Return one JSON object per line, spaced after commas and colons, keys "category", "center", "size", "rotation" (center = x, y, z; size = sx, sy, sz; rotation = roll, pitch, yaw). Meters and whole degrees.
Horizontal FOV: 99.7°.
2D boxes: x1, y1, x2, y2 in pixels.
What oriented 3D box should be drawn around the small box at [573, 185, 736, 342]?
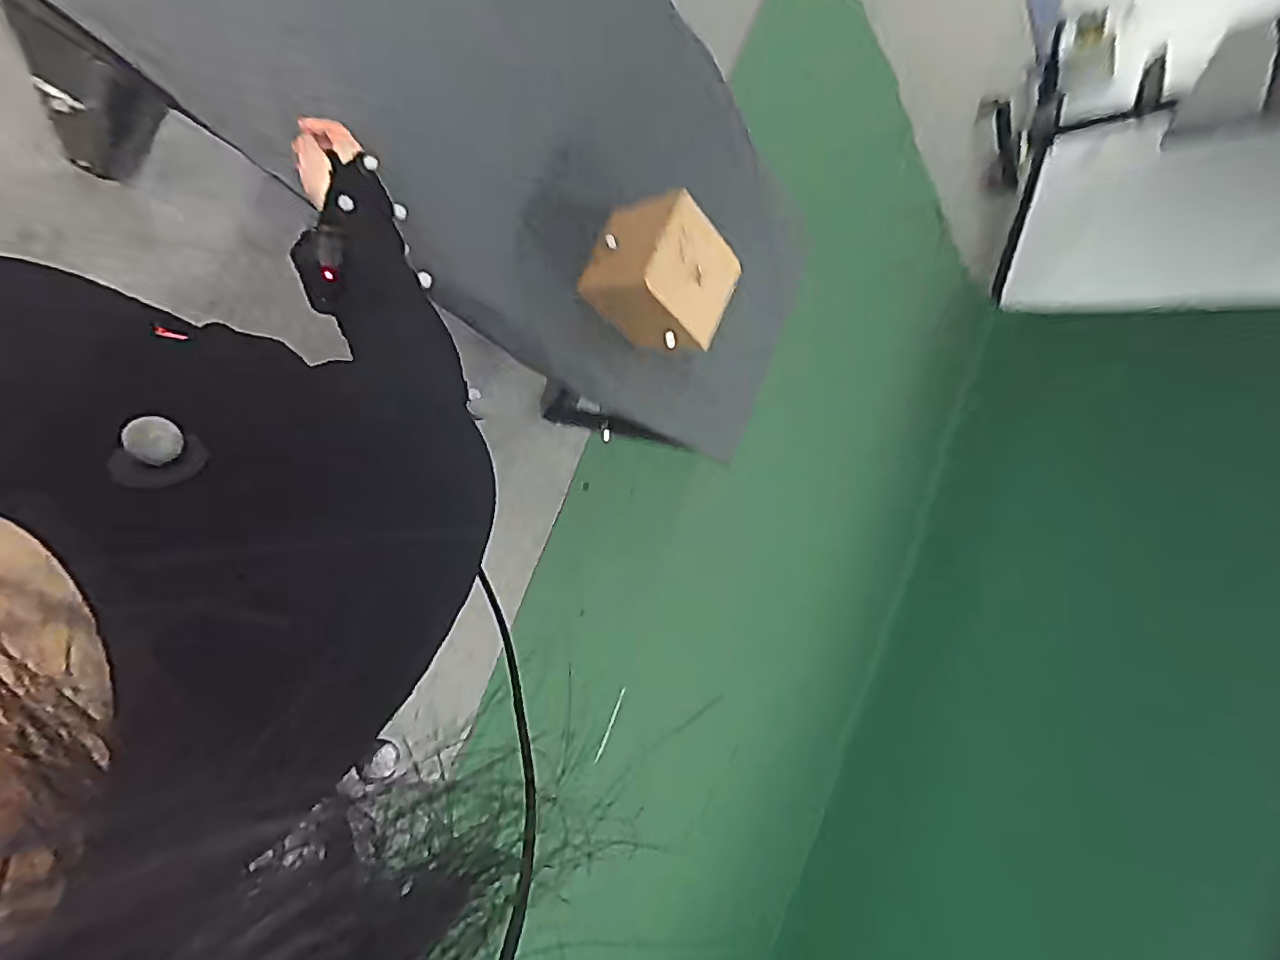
{"category": "small box", "center": [0.024, -0.348, 0.900], "size": [0.179, 0.176, 0.168], "rotation": [32, 77, -43]}
